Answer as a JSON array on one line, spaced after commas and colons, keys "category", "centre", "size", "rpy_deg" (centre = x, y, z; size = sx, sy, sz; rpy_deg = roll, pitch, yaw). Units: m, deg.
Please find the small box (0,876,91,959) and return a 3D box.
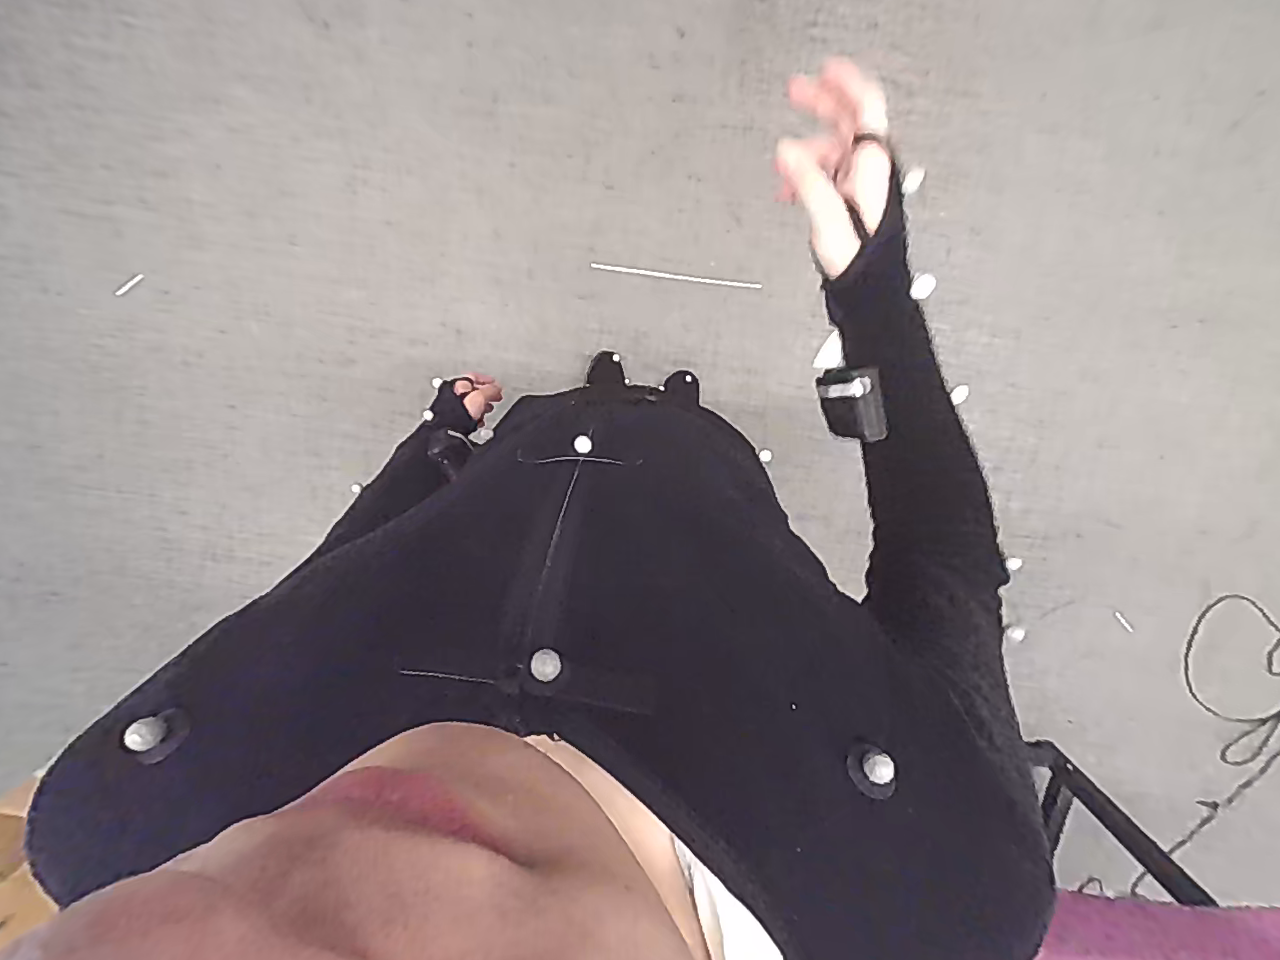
[{"category": "small box", "centre": [-1.405, 1.034, 1.216], "size": [0.179, 0.176, 0.168], "rpy_deg": [8, 102, -4]}]
